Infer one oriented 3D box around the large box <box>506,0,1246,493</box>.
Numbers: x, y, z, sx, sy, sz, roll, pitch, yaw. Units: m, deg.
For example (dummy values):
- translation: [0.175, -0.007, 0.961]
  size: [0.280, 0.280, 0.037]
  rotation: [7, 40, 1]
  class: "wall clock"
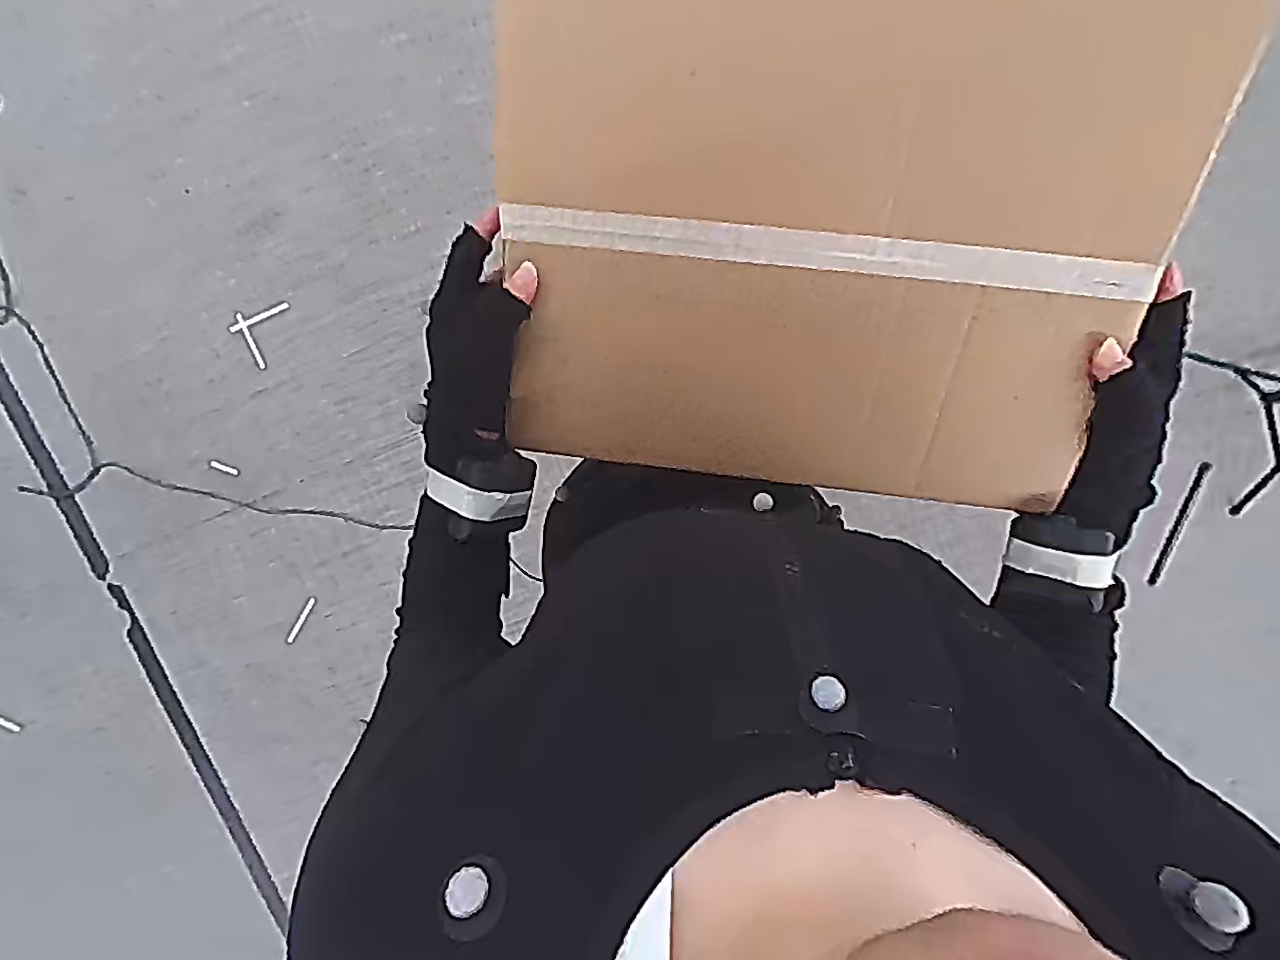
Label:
- translation: [0.120, -0.208, 0.484]
  size: [0.408, 0.320, 0.320]
  rotation: [7, 116, 1]
  class: "large box"
